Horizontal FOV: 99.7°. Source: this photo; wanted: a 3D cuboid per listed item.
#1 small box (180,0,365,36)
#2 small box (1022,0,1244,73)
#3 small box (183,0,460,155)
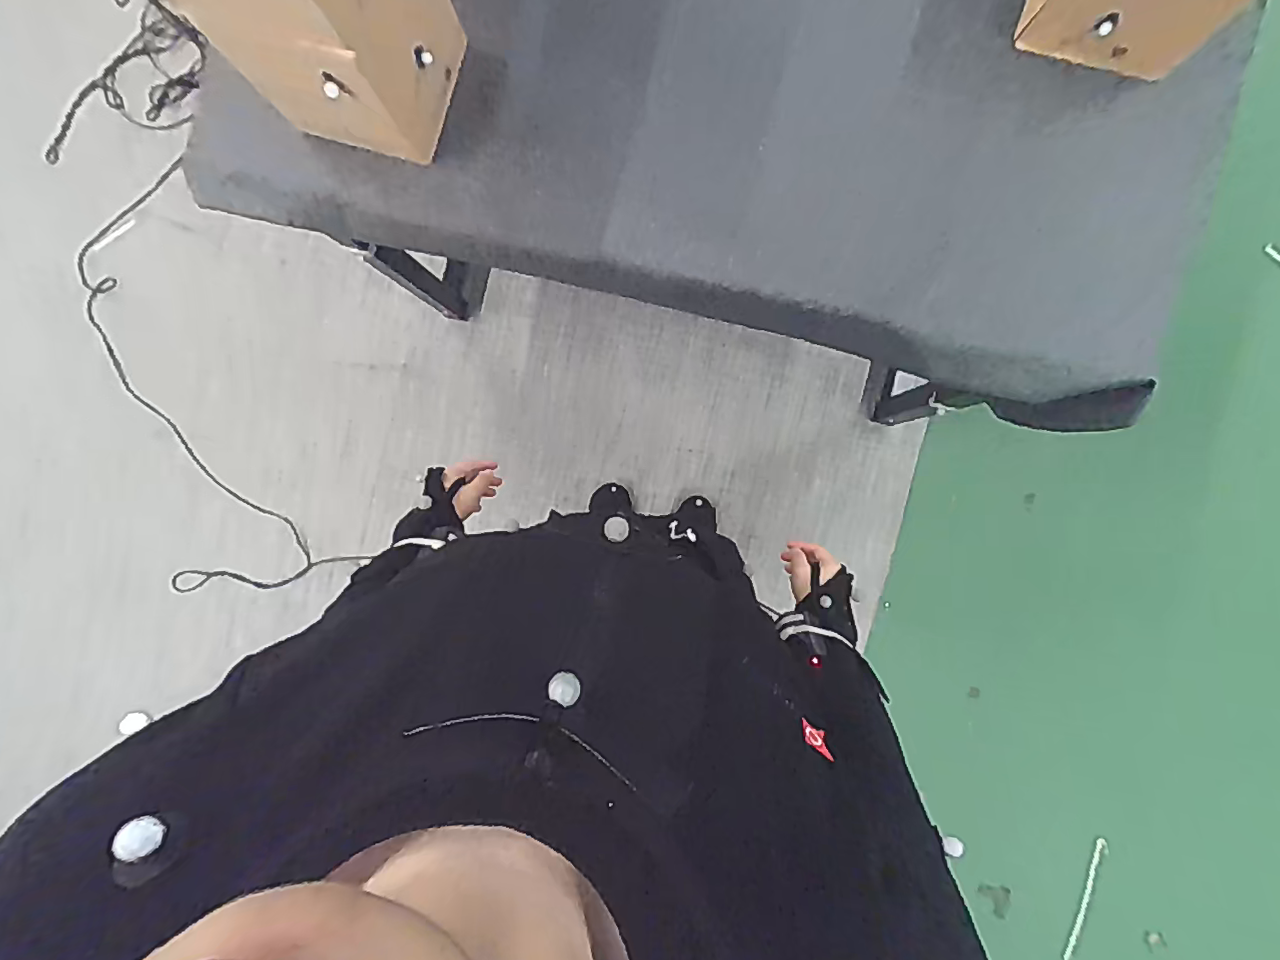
[{"bbox_3d":[-0.330,-0.497,0.419,0.179,0.176,0.168,13,90,3],"label":"small box"},{"bbox_3d":[0.526,-0.562,0.533,0.168,0.176,0.179,17,94,3],"label":"small box"},{"bbox_3d":[-0.320,-0.490,0.582,0.179,0.176,0.168,16,89,3],"label":"small box"}]
